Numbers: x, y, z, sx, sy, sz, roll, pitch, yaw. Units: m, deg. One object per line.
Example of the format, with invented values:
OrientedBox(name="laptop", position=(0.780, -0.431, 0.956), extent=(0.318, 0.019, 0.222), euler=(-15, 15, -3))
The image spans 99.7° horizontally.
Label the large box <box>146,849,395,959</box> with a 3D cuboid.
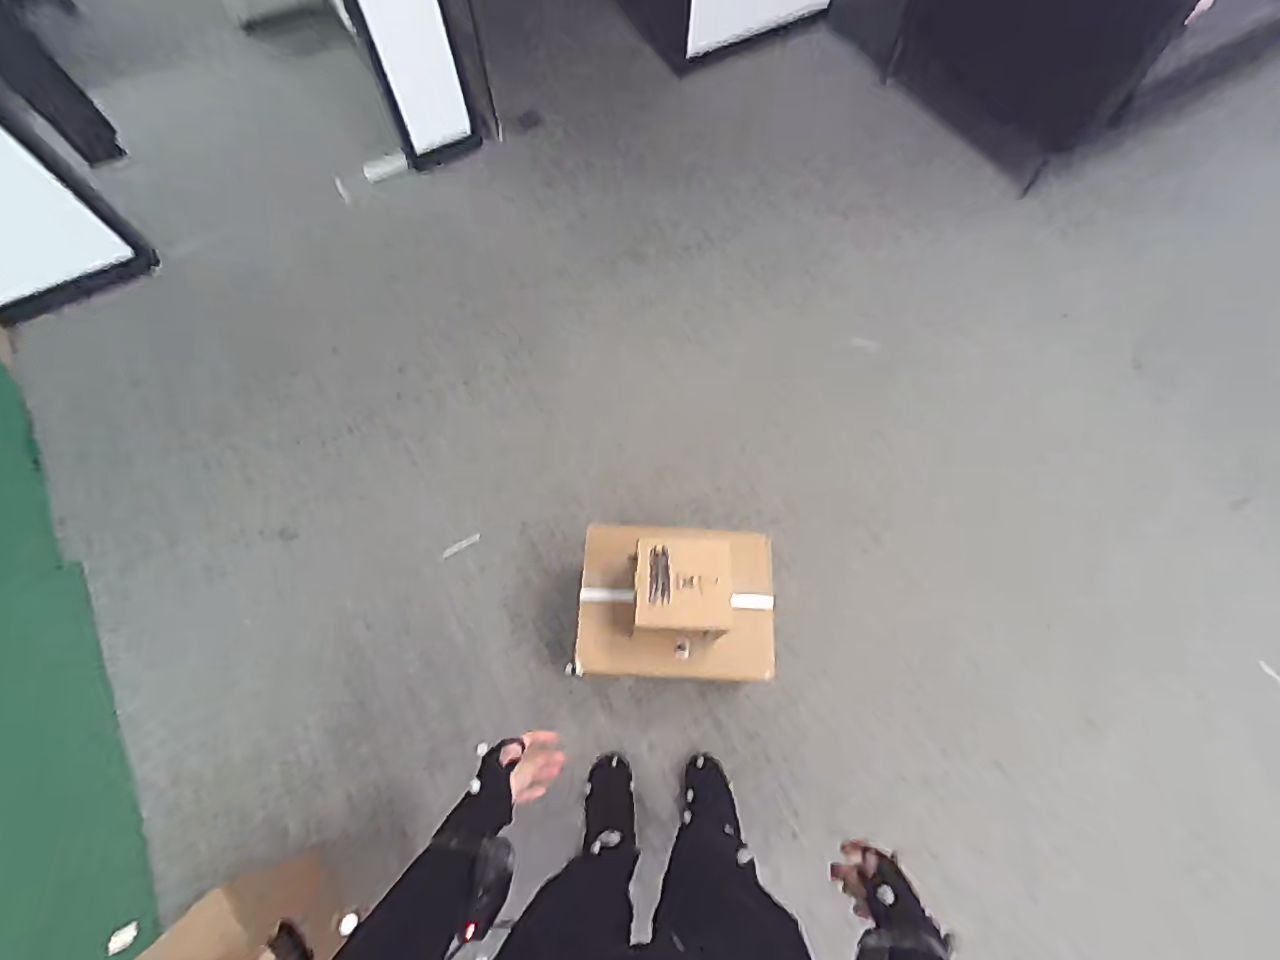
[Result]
OrientedBox(name="large box", position=(-0.741, 0.982, 0.967), extent=(0.320, 0.320, 0.408), euler=(42, 73, 17))
